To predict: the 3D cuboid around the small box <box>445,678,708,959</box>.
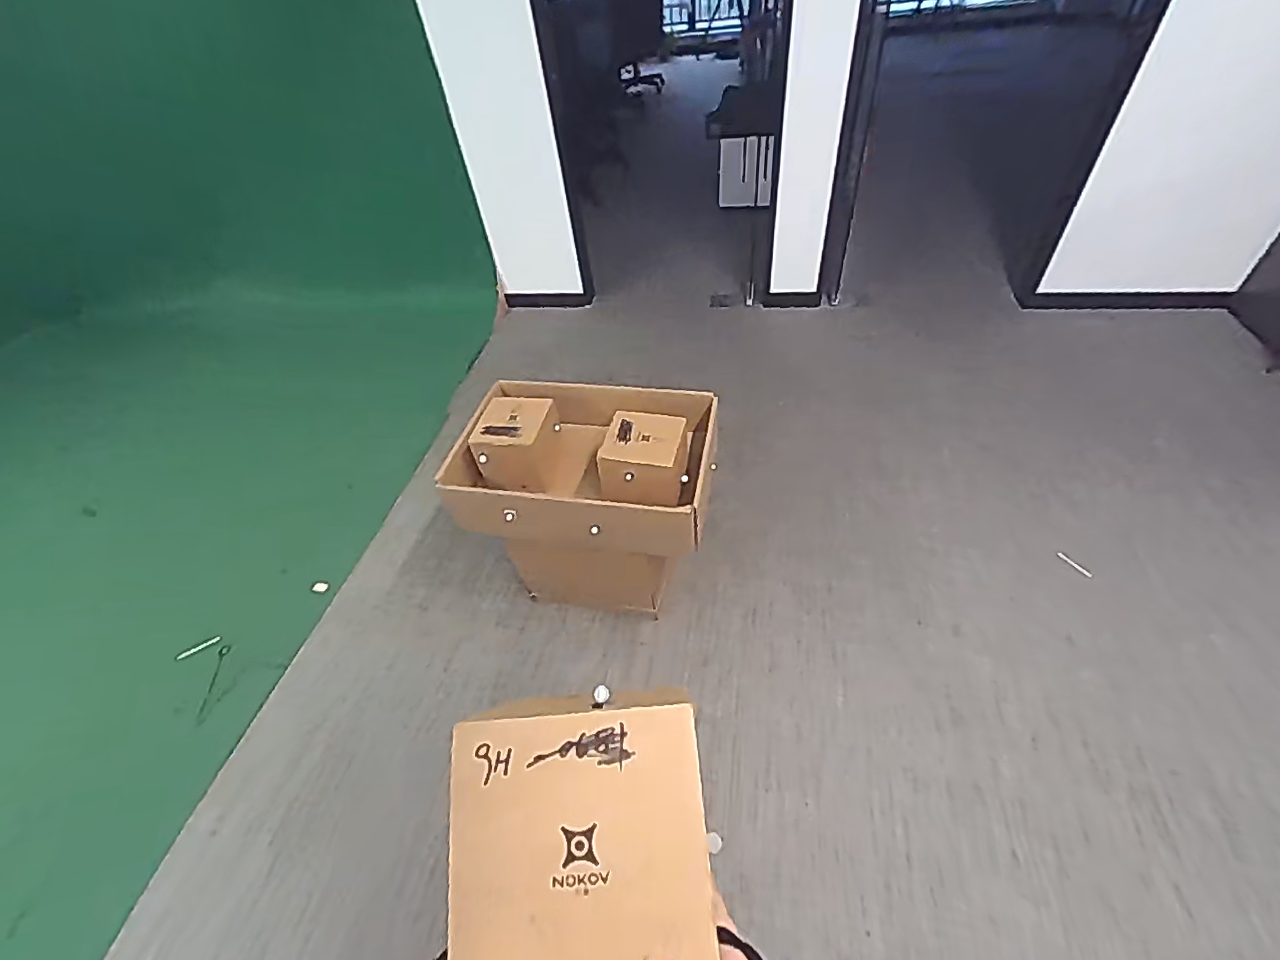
[{"bbox_3d":[-0.039,0.258,0.423,0.168,0.176,0.179,-5,73,1],"label":"small box"}]
